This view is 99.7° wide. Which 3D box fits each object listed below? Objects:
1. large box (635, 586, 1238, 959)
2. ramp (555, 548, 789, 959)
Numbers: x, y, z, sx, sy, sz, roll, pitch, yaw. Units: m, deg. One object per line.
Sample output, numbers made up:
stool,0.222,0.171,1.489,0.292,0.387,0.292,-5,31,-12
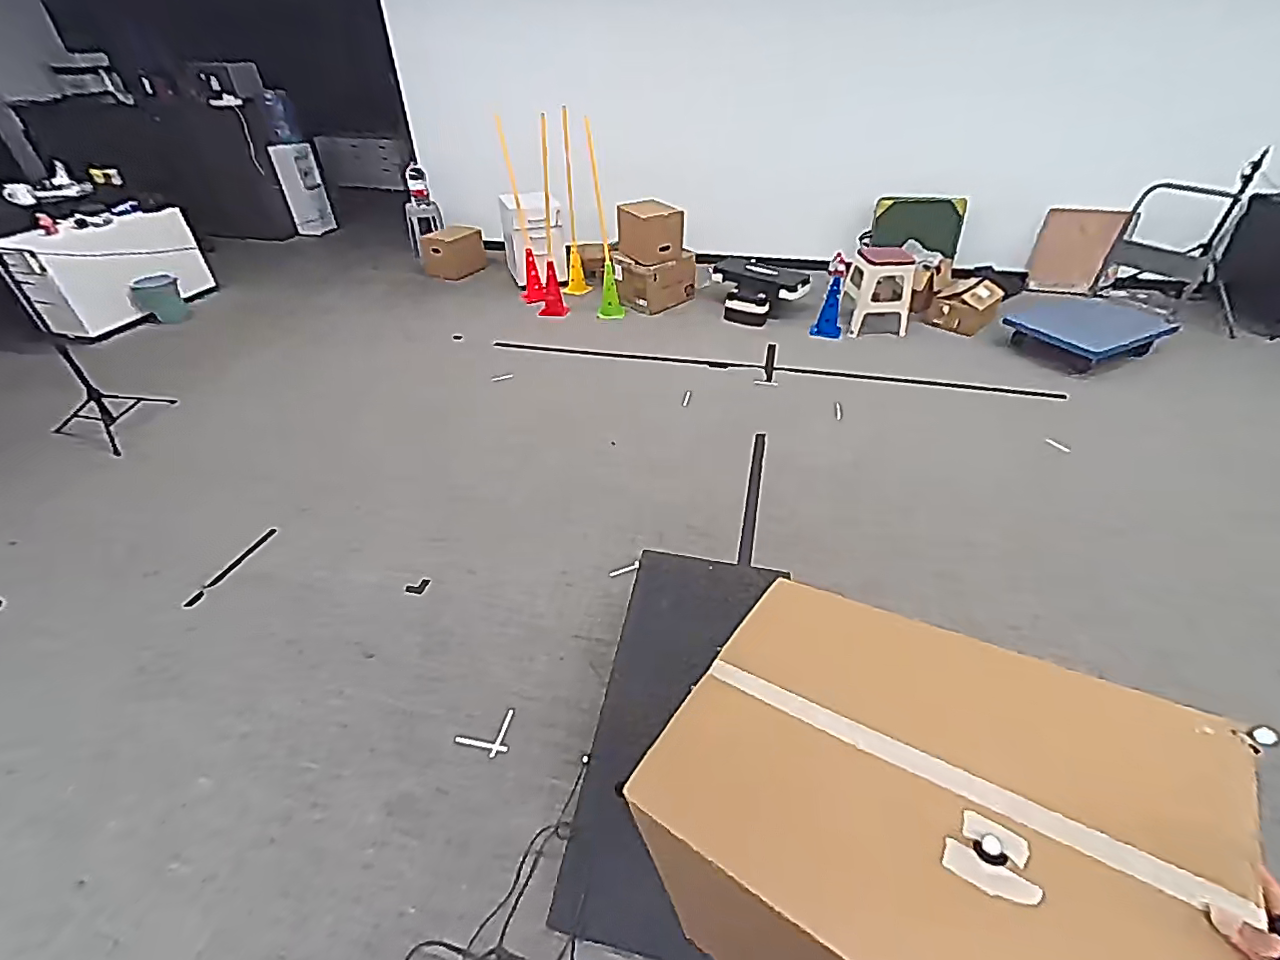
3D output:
large box,0.264,0.370,0.548,0.408,0.320,0.320,14,41,39
ramp,0.147,0.633,1.479,0.509,0.206,0.991,7,40,8
